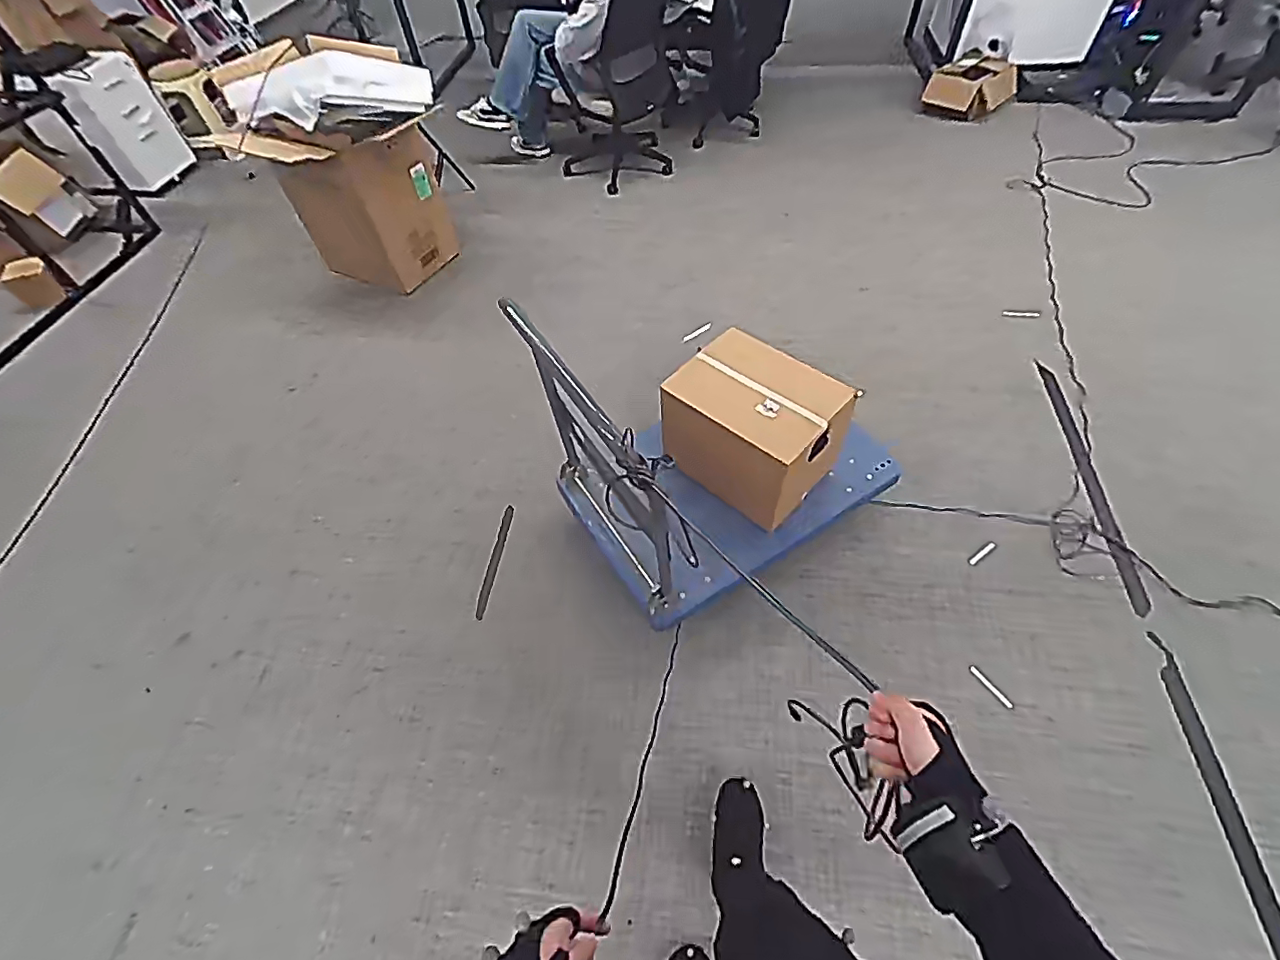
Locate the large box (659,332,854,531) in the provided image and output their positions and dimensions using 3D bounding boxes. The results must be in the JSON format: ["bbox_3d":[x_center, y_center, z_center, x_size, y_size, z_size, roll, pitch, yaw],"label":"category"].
[{"bbox_3d":[0.298,-0.136,1.499,0.408,0.320,0.320,36,64,25],"label":"large box"}]
